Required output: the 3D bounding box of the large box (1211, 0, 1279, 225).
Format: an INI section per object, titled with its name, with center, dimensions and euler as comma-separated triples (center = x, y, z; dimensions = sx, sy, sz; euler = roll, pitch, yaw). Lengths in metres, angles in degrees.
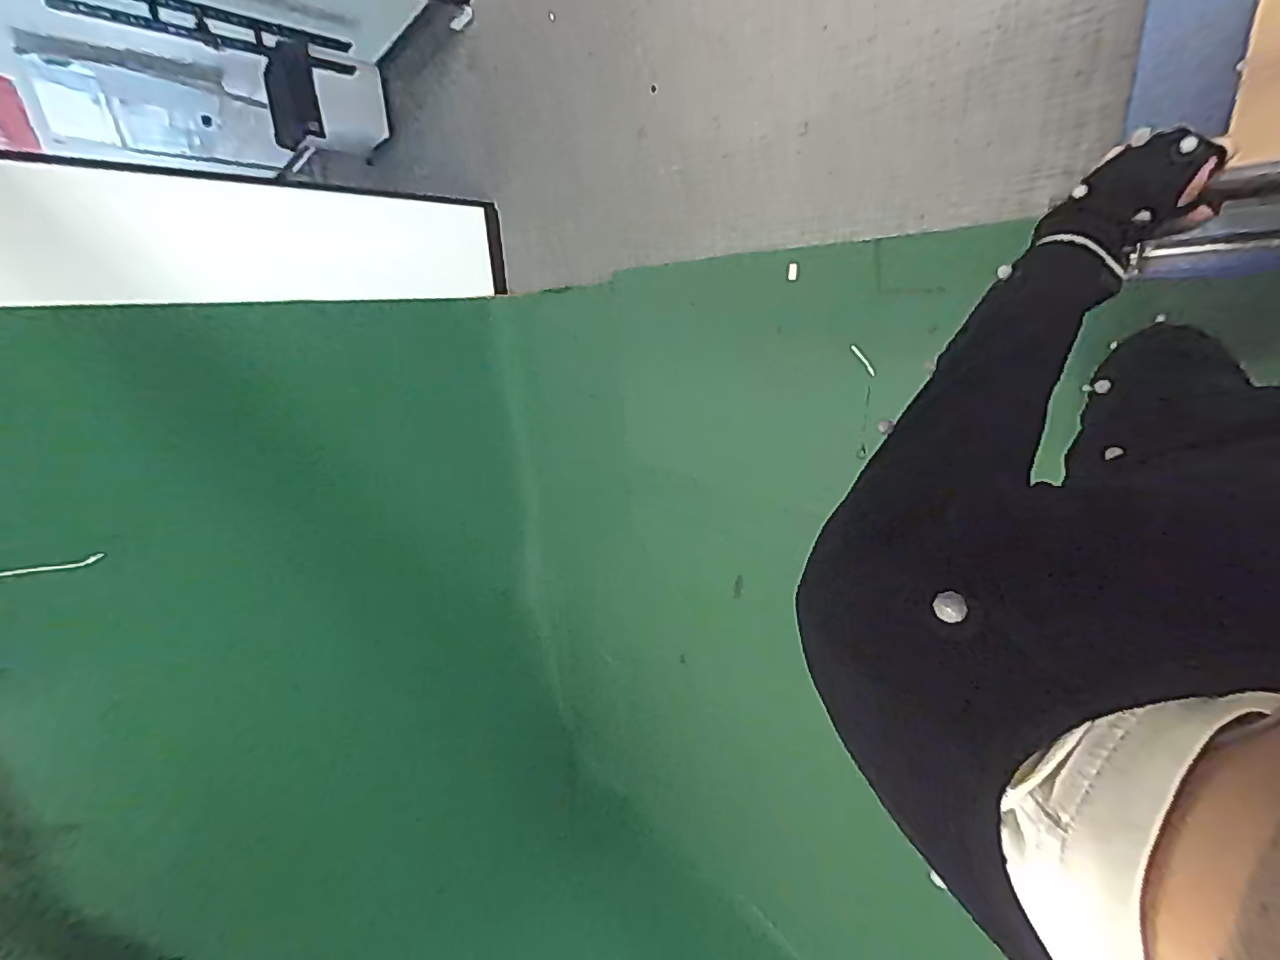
[large box]
center = 1.007, -0.587, 0.698
dimensions = 0.320, 0.320, 0.408
euler = 13, 111, 45
